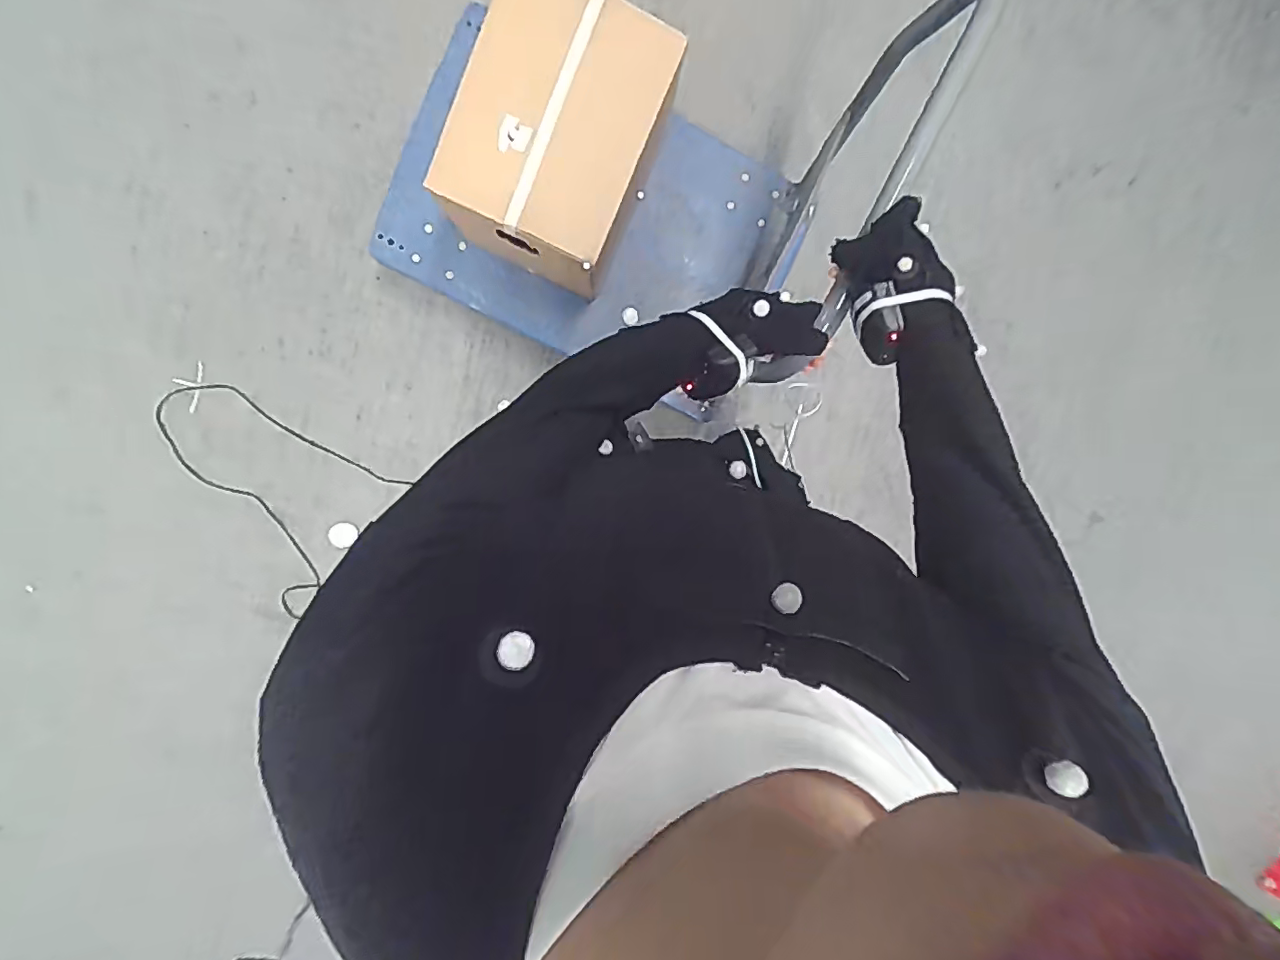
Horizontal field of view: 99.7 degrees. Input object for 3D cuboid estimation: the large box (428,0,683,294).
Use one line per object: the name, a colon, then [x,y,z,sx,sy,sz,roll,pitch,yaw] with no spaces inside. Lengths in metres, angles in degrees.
large box: [-0.152,-0.636,1.048,0.320,0.320,0.408,24,96,-6]
